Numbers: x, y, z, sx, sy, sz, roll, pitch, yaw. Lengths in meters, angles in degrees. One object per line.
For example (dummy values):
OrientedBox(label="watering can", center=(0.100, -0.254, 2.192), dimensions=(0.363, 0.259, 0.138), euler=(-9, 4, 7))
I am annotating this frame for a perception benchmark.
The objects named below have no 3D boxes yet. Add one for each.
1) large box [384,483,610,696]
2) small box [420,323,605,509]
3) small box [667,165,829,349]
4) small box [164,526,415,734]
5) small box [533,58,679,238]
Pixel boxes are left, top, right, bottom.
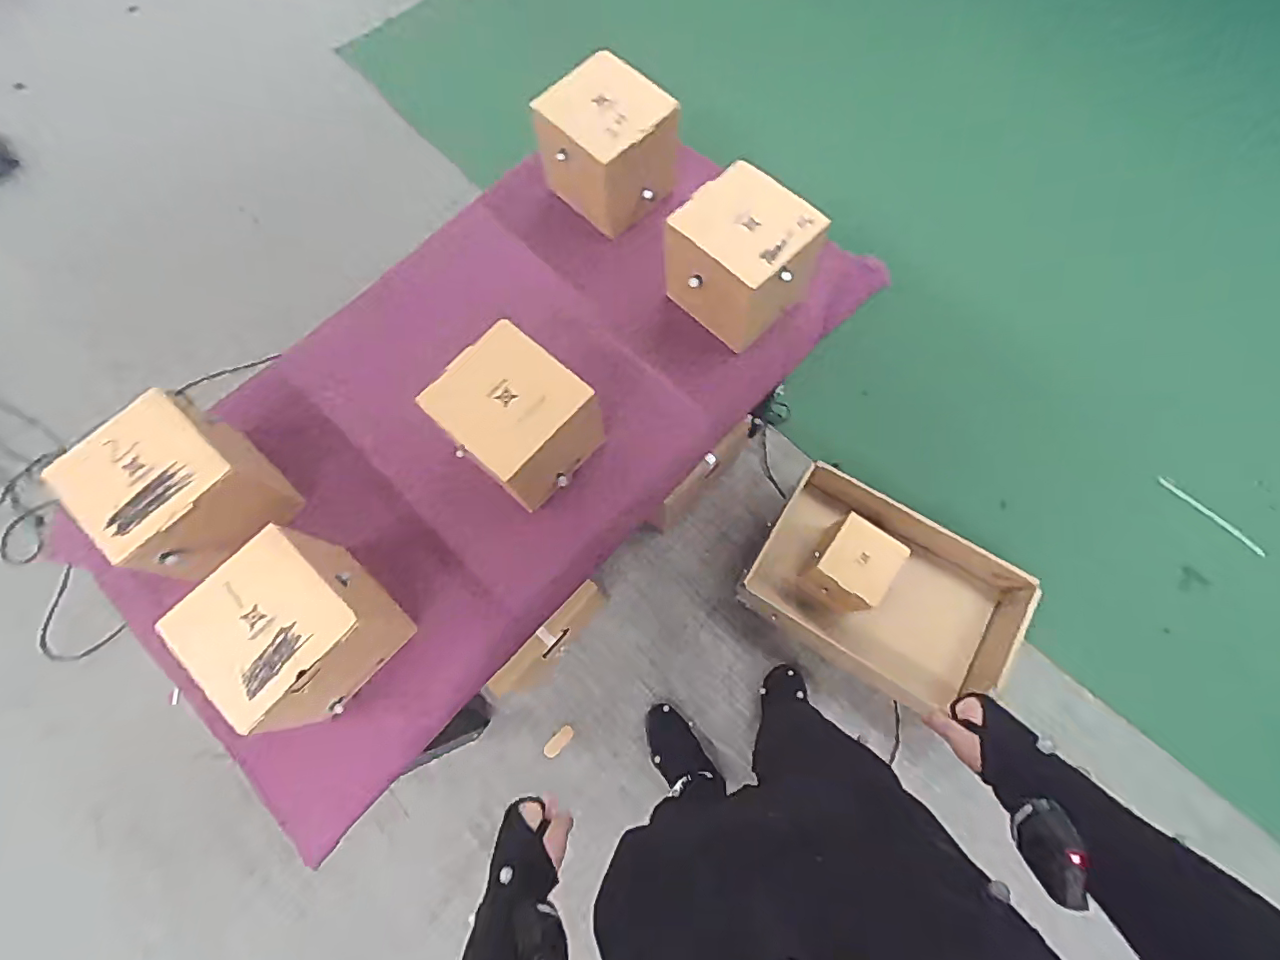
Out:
OrientedBox(label="large box", center=(-0.332, 0.281, 1.359), dimensions=(0.408, 0.320, 0.320), euler=(39, 76, 14))
OrientedBox(label="small box", center=(-0.171, -0.082, 0.780), dimensions=(0.179, 0.176, 0.168), euler=(40, 78, 14))
OrientedBox(label="small box", center=(0.159, -0.342, 0.855), dimensions=(0.168, 0.176, 0.179), euler=(-43, 73, -10))
OrientedBox(label="small box", center=(-0.428, 0.189, 0.694), dimensions=(0.179, 0.176, 0.168), euler=(40, 76, 15))
OrientedBox(label="small box", center=(-0.053, -0.562, 0.933), dimensions=(0.168, 0.176, 0.179), euler=(-44, 77, -10))
